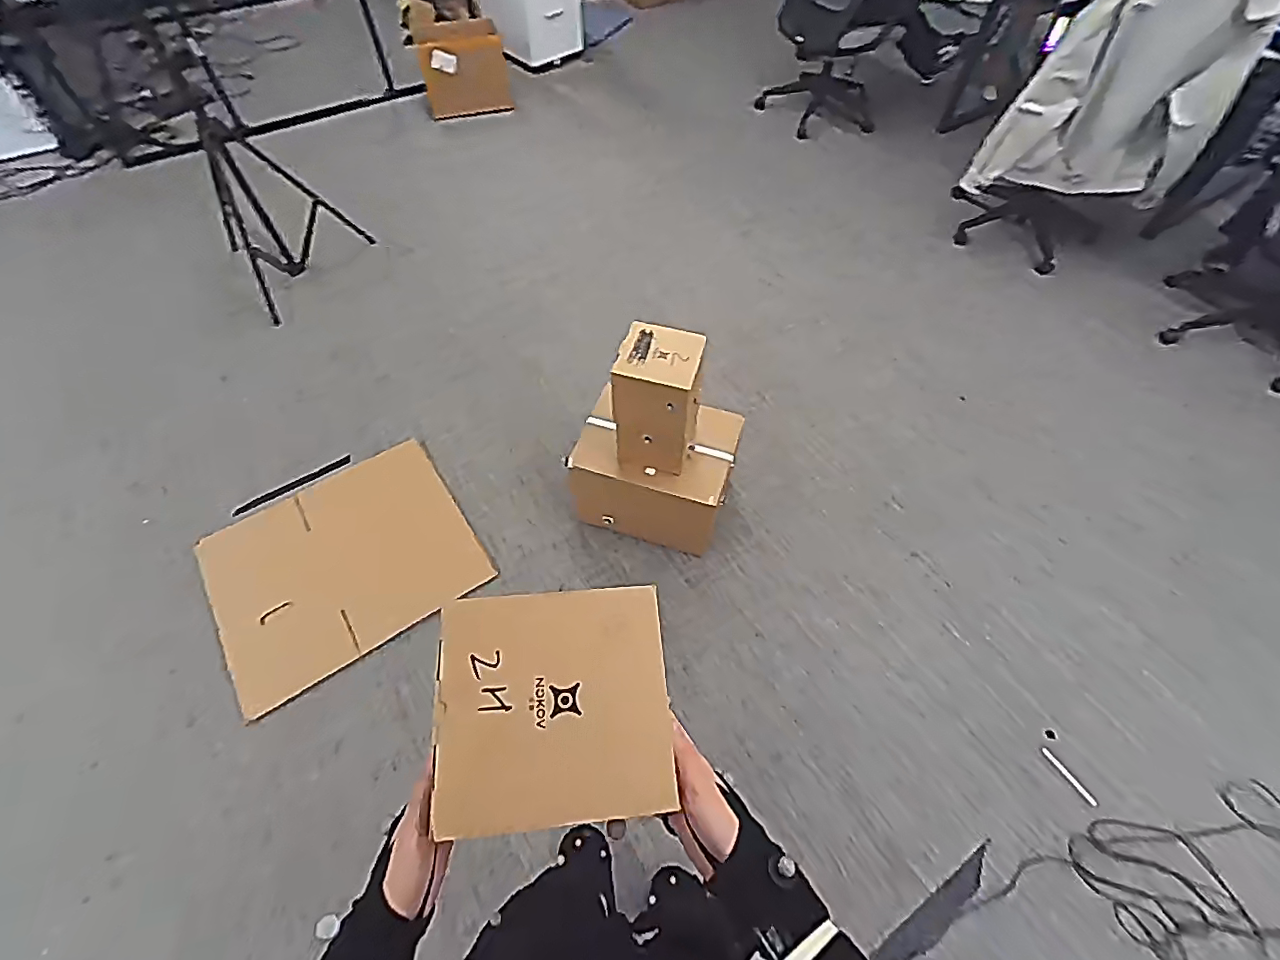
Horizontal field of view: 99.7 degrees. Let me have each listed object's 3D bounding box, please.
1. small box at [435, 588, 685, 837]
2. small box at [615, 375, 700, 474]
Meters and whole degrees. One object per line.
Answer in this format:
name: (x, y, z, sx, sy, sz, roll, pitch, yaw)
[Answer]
small box: (-0.067, 0.198, 0.480, 0.179, 0.176, 0.168, -2, 65, -7)
small box: (0.043, -0.135, 1.369, 0.179, 0.176, 0.168, 14, 59, 8)
